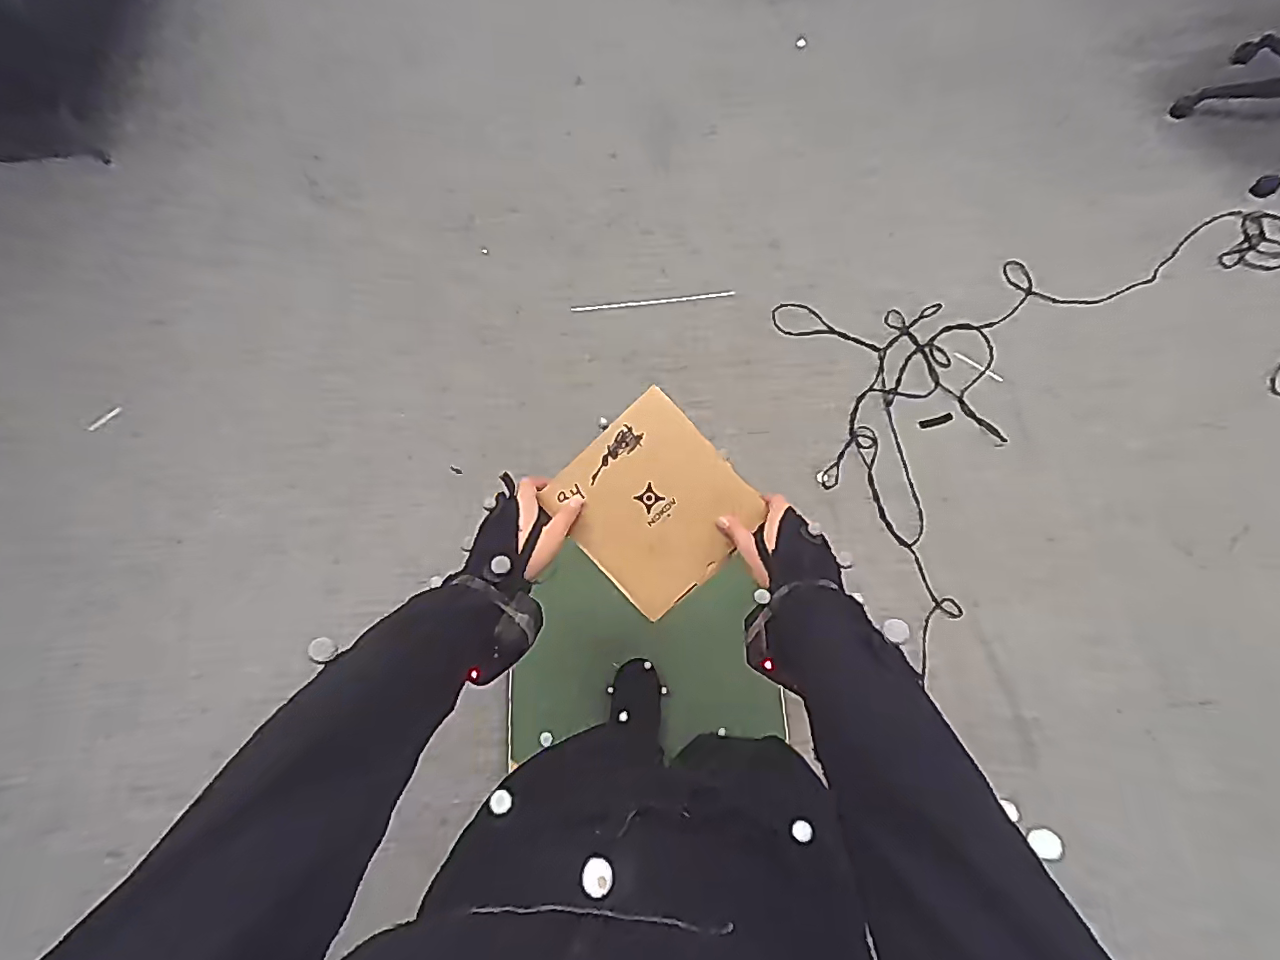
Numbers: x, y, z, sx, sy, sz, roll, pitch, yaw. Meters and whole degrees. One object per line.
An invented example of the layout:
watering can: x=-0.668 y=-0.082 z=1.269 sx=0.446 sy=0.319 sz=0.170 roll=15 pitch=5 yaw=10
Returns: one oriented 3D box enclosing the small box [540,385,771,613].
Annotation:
small box: x=0.017 y=0.015 z=0.618 sx=0.168 sy=0.176 sz=0.179 roll=-42 pitch=91 yaw=2
